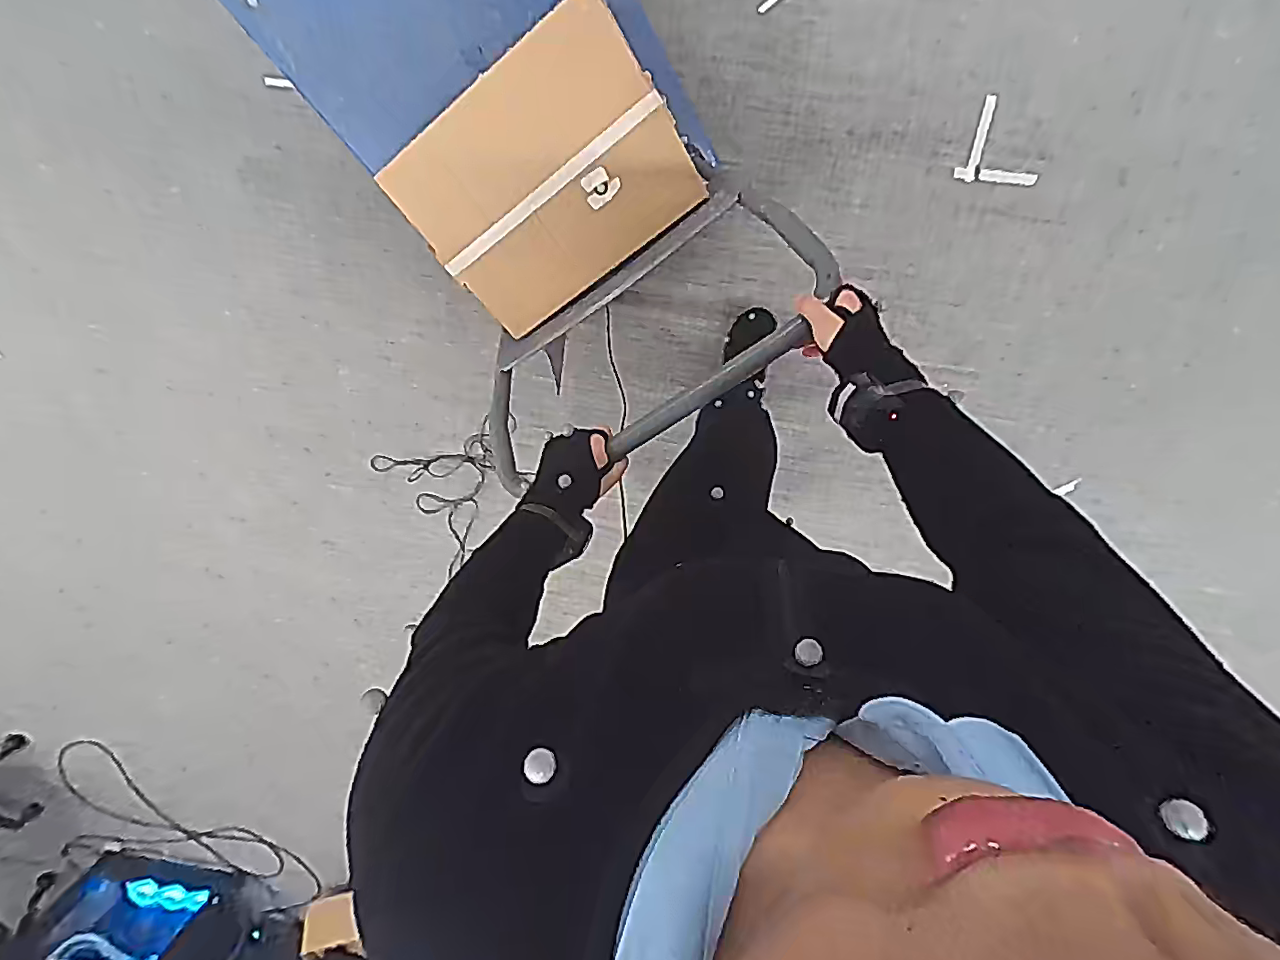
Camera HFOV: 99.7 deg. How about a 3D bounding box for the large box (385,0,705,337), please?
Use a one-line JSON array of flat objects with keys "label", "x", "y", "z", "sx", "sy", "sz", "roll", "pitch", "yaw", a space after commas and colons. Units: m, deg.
[{"label": "large box", "x": -0.158, "y": -0.535, "z": 0.955, "sx": 0.408, "sy": 0.320, "sz": 0.320, "roll": -33, "pitch": 123, "yaw": 14}]
